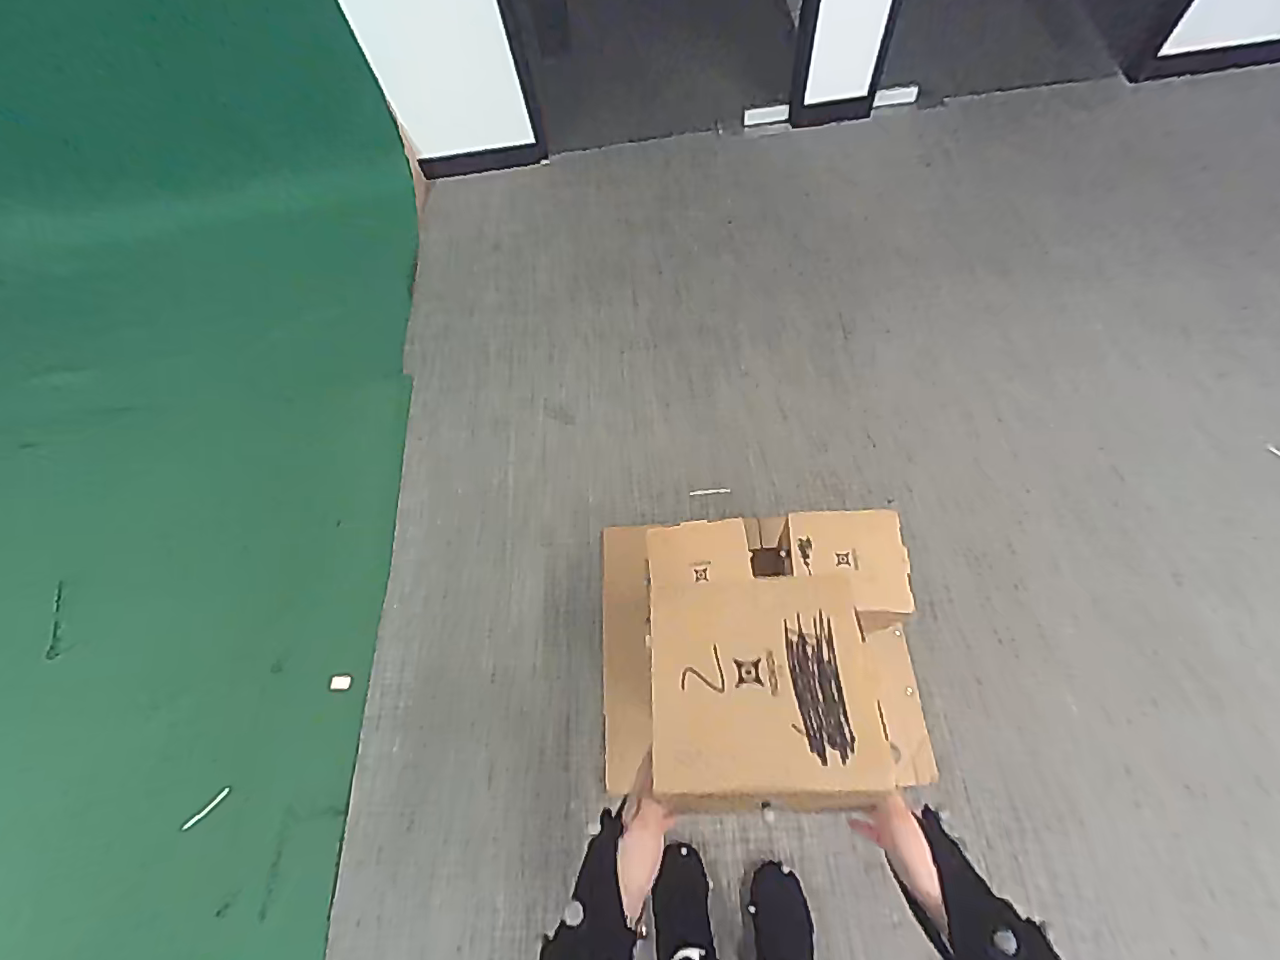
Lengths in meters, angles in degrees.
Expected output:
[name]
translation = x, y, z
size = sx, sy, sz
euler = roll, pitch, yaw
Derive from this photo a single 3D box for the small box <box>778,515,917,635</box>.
[small box]
translation = 0.338, 0.165, 0.917
size = 0.179, 0.176, 0.168
euler = -1, 65, 7
